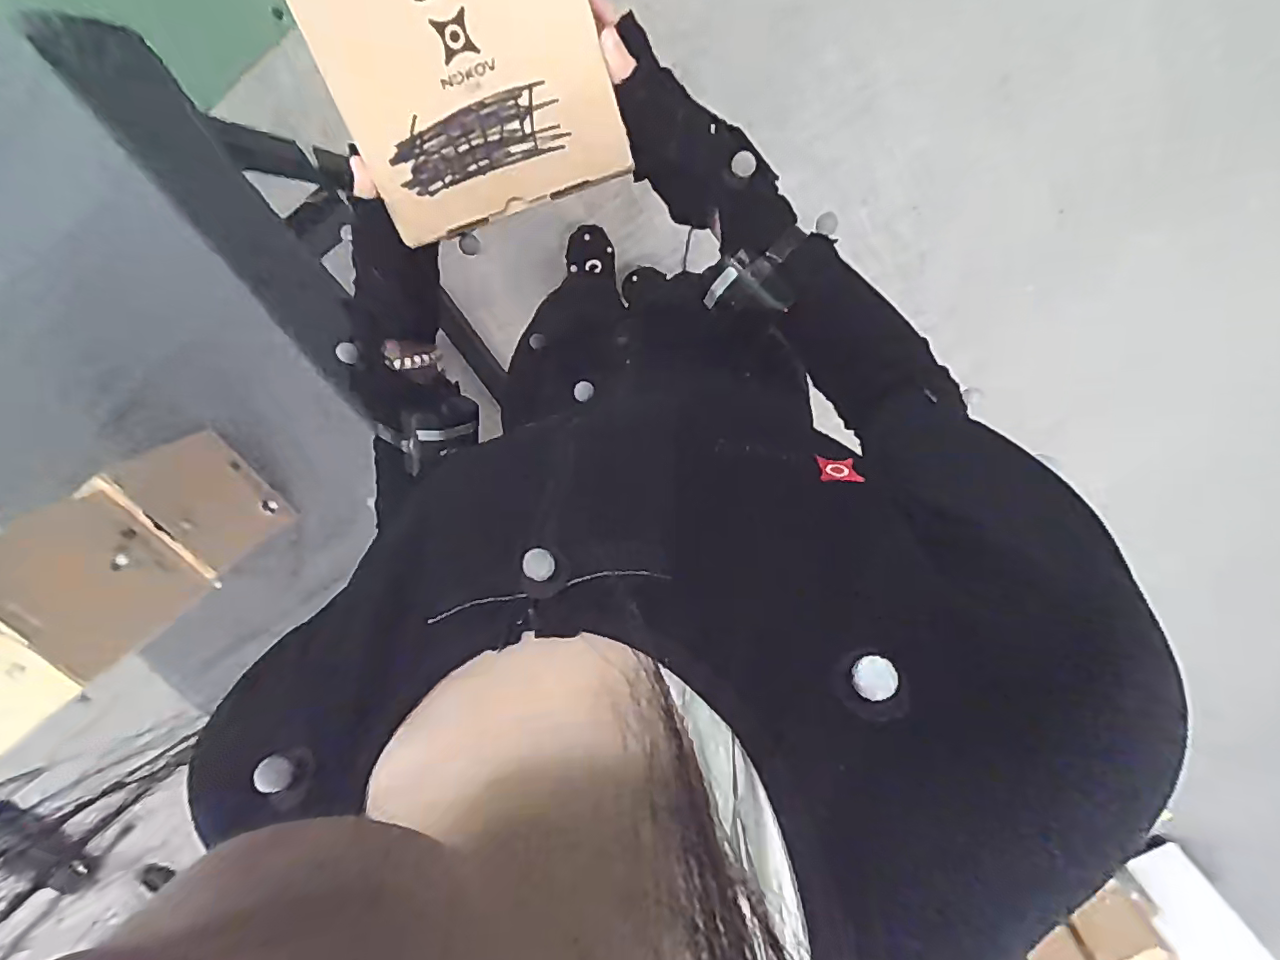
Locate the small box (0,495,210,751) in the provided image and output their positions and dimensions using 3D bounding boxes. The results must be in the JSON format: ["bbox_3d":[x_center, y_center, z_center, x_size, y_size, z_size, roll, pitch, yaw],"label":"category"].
[{"bbox_3d":[-0.639,0.148,0.594,0.179,0.176,0.168,-33,108,15],"label":"small box"}]

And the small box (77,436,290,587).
[{"bbox_3d":[-0.626,0.065,0.737,0.179,0.176,0.168,-31,108,16],"label":"small box"}]
